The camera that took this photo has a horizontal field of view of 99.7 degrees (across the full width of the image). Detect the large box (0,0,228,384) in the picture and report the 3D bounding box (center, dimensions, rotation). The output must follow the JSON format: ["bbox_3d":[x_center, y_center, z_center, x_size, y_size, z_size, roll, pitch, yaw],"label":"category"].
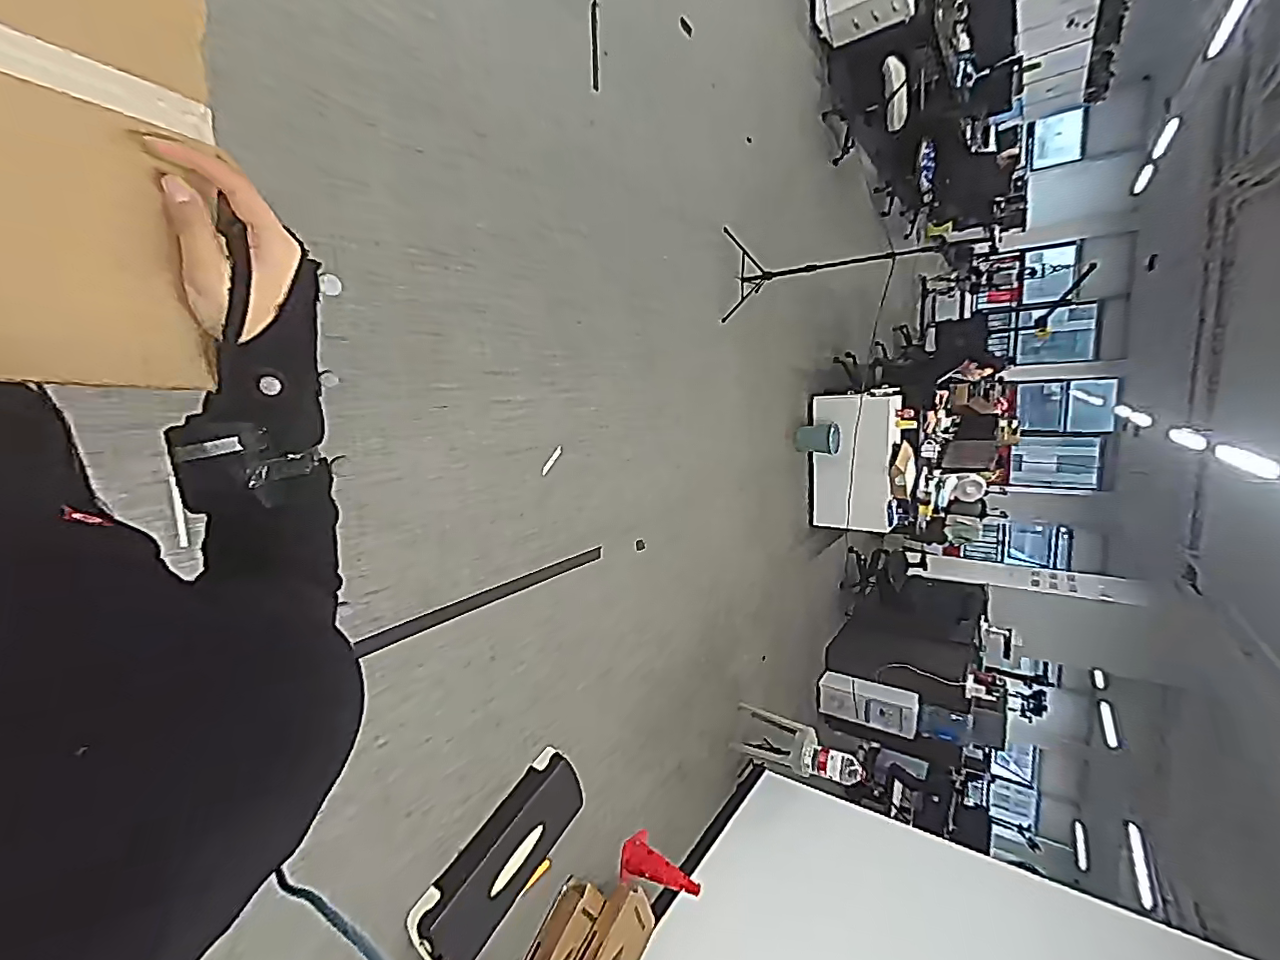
[{"bbox_3d":[-0.503,-0.218,0.263,0.408,0.320,0.320,-8,106,-54],"label":"large box"}]
